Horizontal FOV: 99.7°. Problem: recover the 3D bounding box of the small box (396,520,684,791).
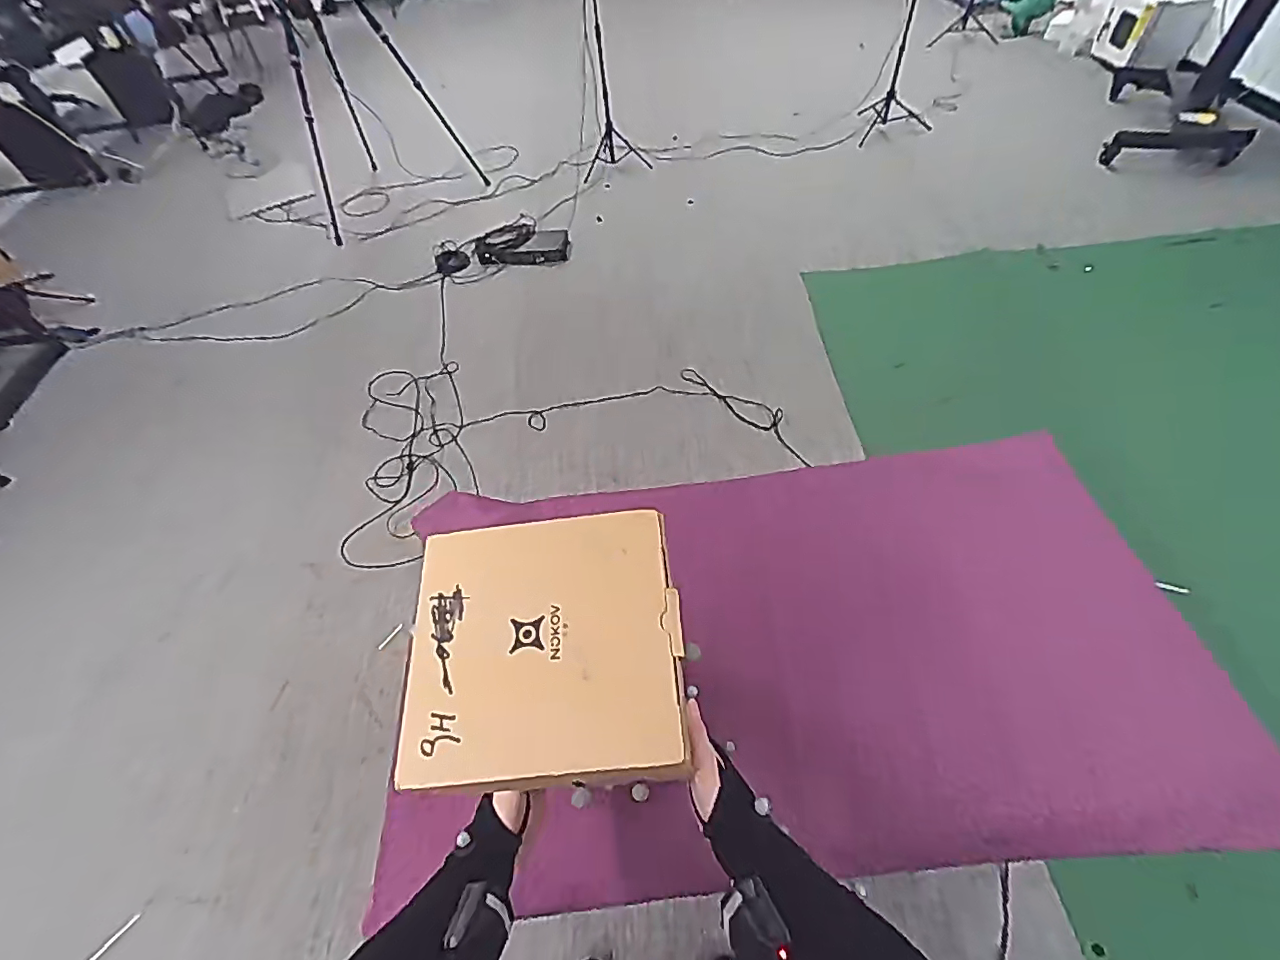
[{"bbox_3d":[-0.059,0.147,0.430,0.179,0.176,0.168,-6,58,3],"label":"small box"}]
